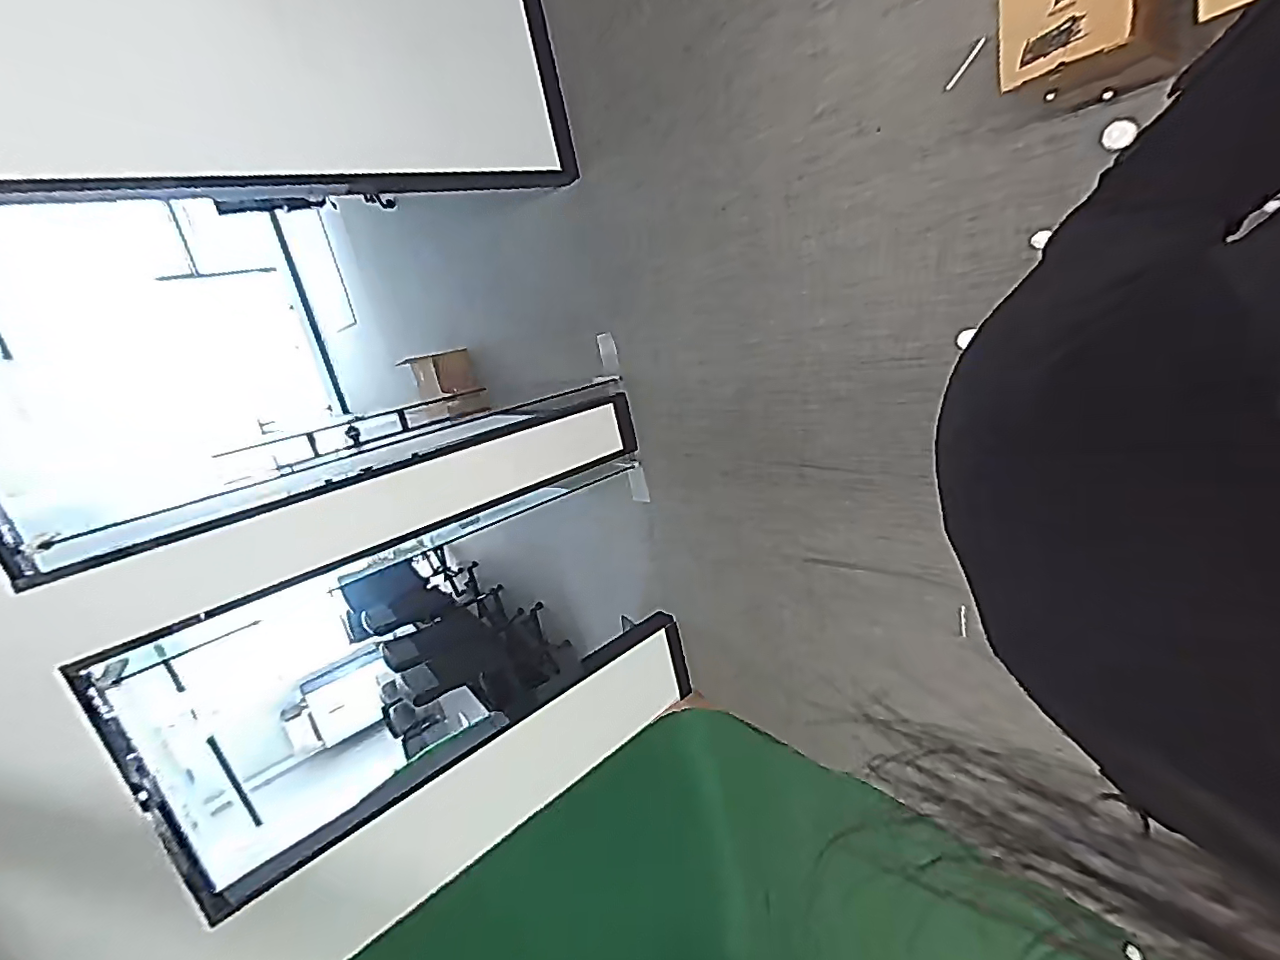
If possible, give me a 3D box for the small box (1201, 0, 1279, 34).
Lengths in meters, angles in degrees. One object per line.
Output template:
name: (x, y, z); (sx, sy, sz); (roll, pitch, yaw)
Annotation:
small box: (0.840, -0.699, 0.672); (0.179, 0.176, 0.168); (5, 114, 52)
